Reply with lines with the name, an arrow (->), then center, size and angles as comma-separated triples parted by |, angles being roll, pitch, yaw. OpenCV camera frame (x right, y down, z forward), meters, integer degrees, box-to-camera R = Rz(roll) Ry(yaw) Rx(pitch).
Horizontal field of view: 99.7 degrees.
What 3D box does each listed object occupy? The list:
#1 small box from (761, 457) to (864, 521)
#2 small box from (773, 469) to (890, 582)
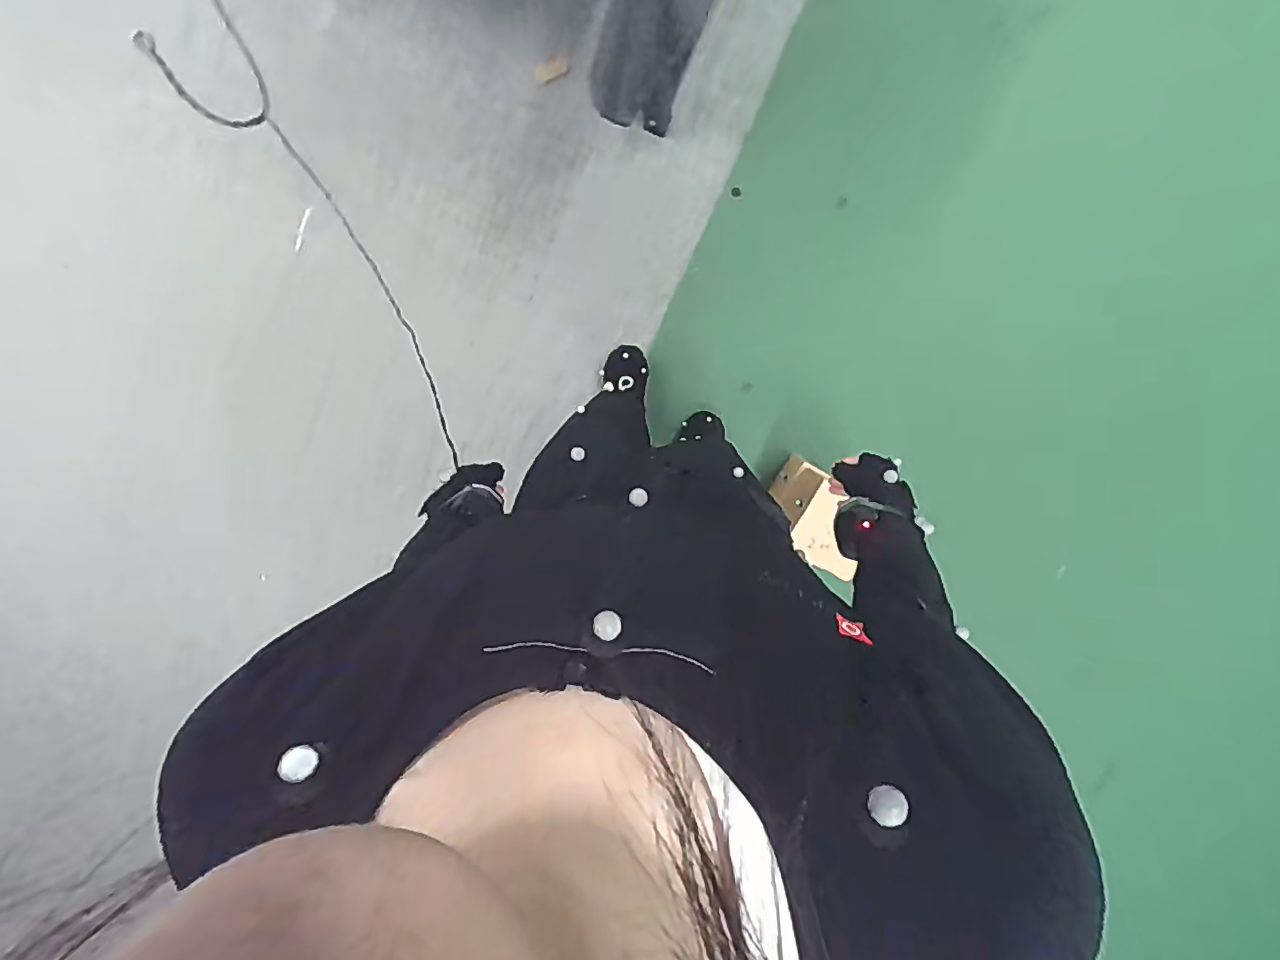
small box -> 0.430, 0.053, 1.387 | 0.179, 0.176, 0.168 | 30, 101, -1
small box -> 0.422, 0.094, 1.228 | 0.168, 0.176, 0.179 | 29, 102, -1
